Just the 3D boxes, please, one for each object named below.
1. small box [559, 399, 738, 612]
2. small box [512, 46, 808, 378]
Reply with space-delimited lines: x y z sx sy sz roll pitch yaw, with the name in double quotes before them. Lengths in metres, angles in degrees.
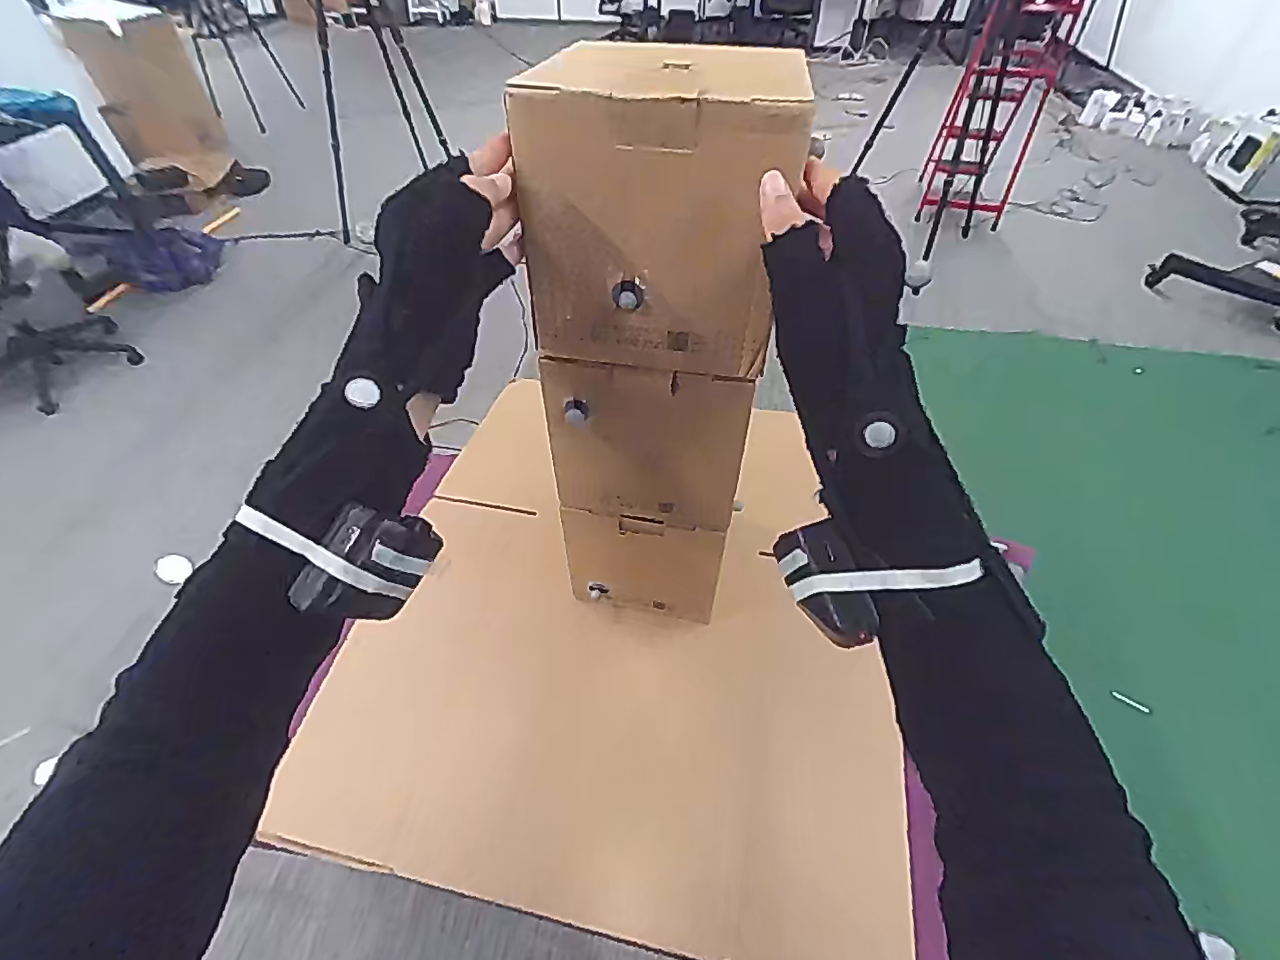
"small box" 0.017 0.031 0.635 0.168 0.176 0.179 9 46 8
"small box" 0.020 -0.201 0.403 0.168 0.176 0.179 7 47 6
